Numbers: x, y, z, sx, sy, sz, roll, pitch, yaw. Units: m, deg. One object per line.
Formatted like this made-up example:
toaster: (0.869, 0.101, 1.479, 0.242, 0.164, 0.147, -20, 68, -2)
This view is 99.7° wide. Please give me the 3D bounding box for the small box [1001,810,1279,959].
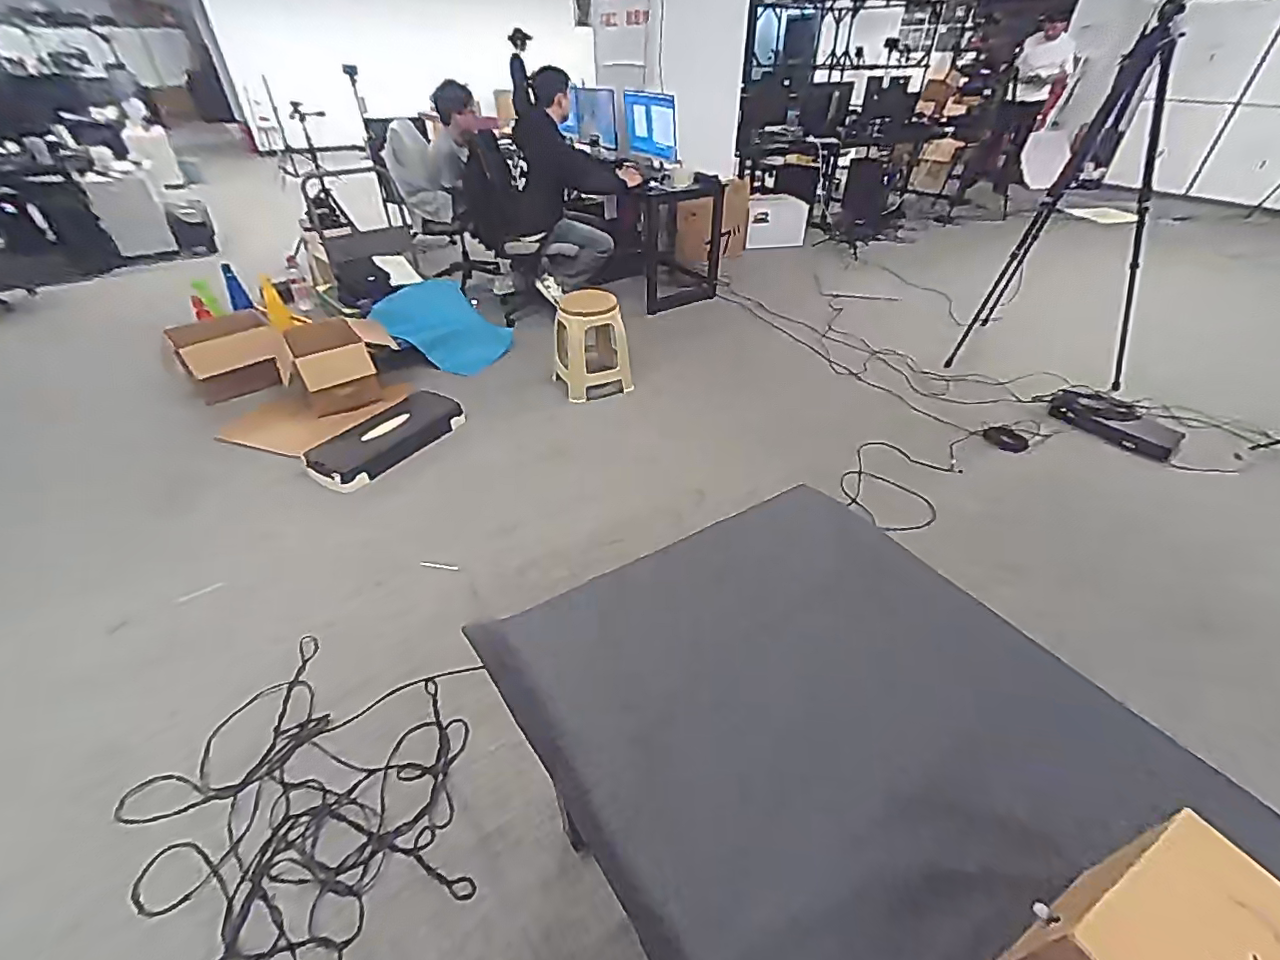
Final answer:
small box: (0.419, 0.408, 0.415, 0.179, 0.176, 0.168, -19, 43, -24)
